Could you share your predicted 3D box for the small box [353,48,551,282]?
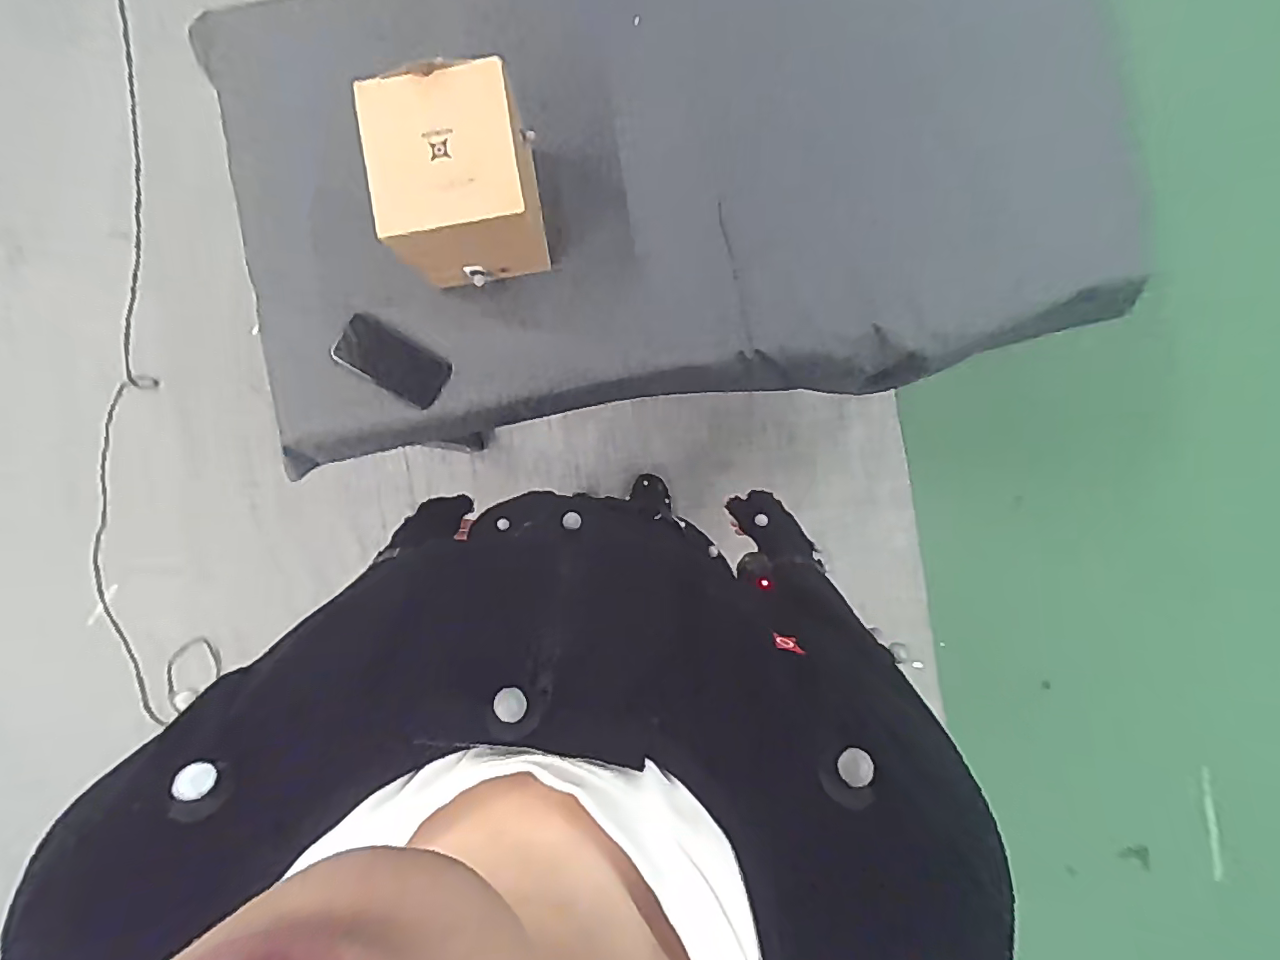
[{"bbox_3d":[-0.215,-0.368,0.662,0.168,0.176,0.179,-10,91,2],"label":"small box"}]
